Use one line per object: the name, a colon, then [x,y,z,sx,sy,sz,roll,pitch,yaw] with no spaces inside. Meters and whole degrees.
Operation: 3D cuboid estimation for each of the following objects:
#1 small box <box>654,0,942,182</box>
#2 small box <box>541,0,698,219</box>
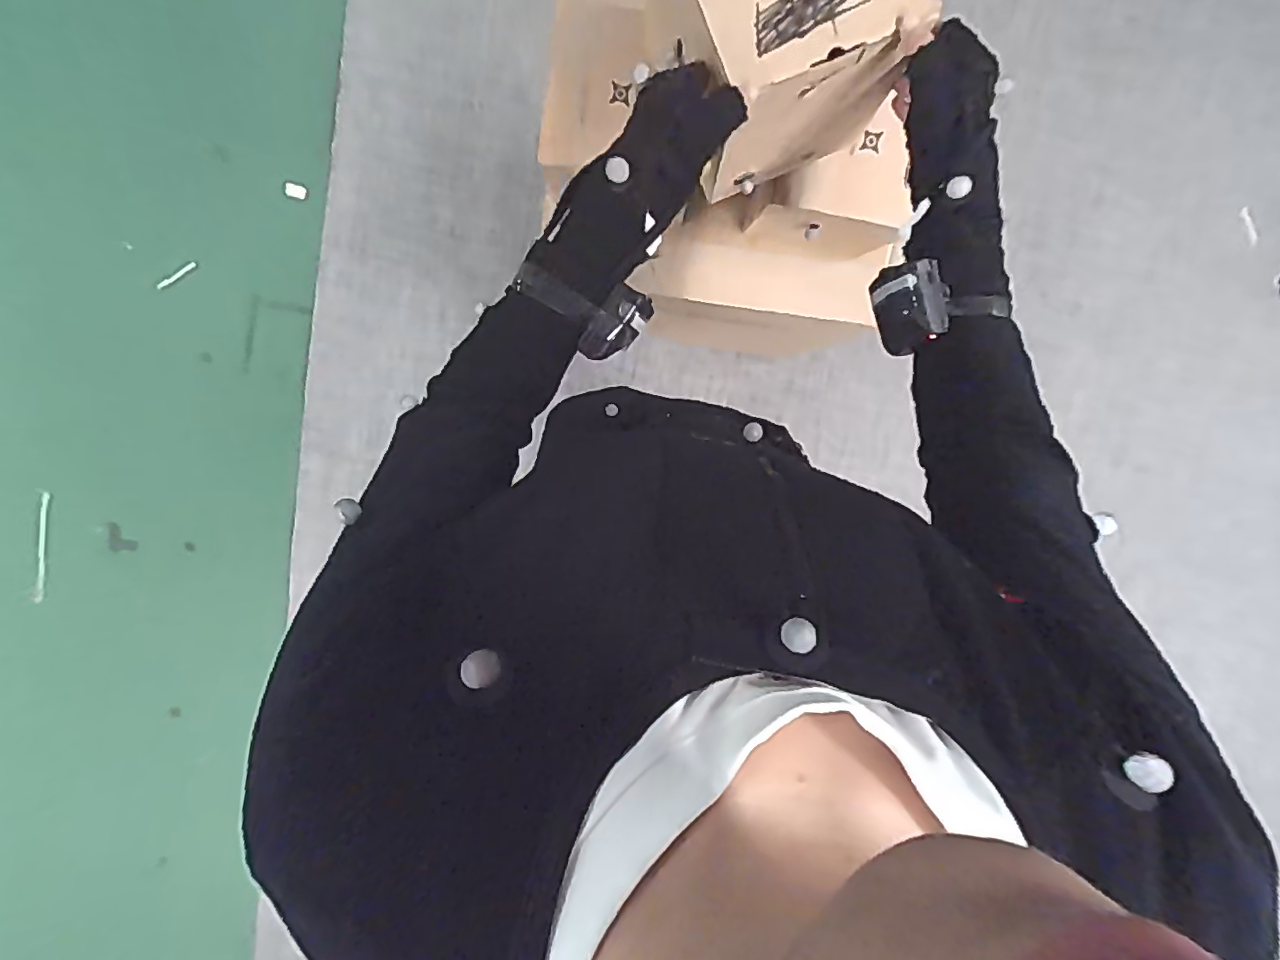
small box: [0.118,-0.397,0.474,0.168,0.176,0.179,-22,92,1]
small box: [-0.014,-0.436,0.665,0.179,0.176,0.168,8,101,-1]
